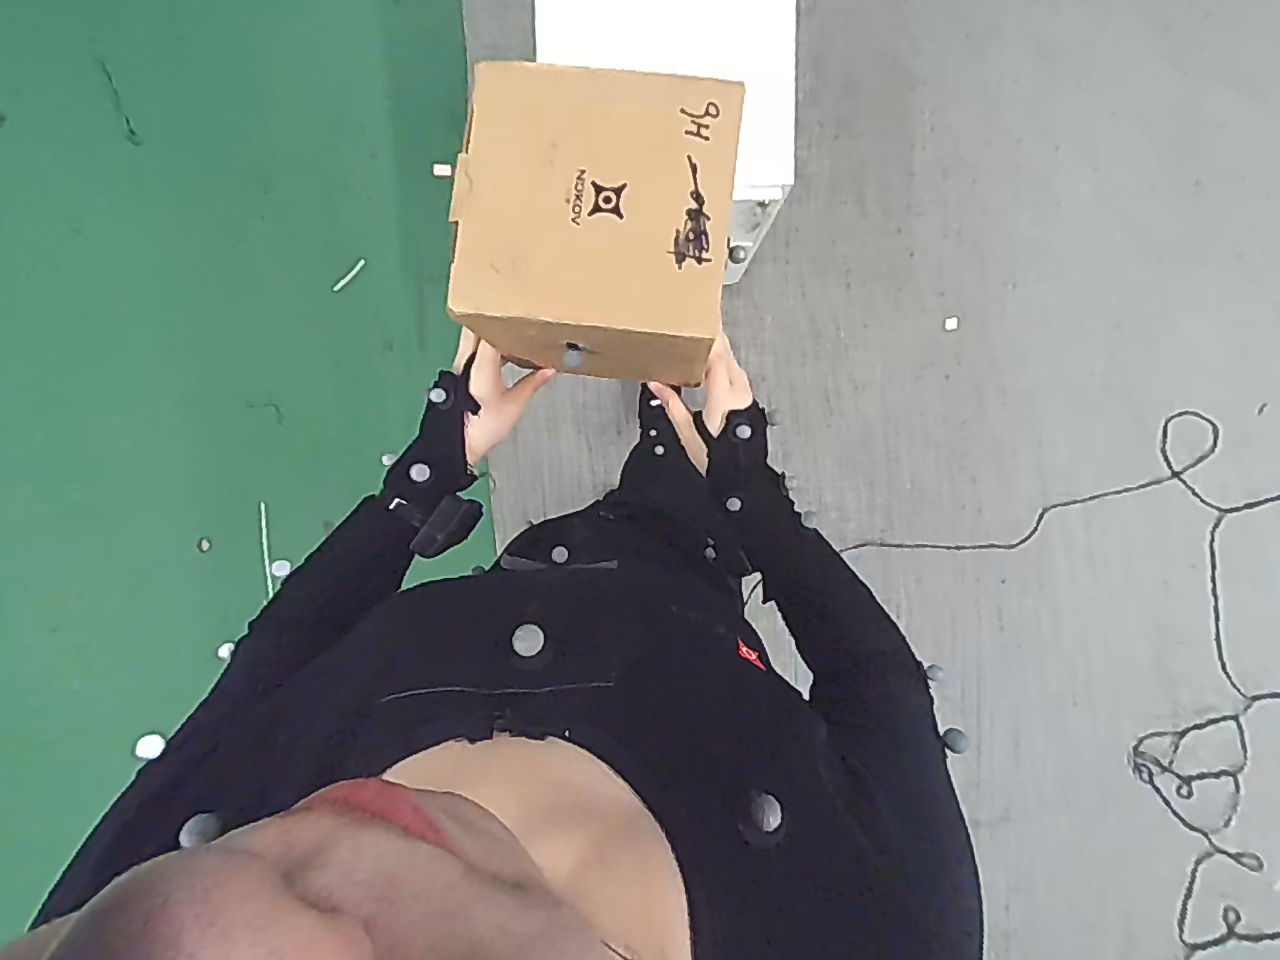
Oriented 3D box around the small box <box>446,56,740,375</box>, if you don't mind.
[{"bbox_3d":[-0.027,-0.185,0.427,0.179,0.176,0.168,7,90,3],"label":"small box"}]
